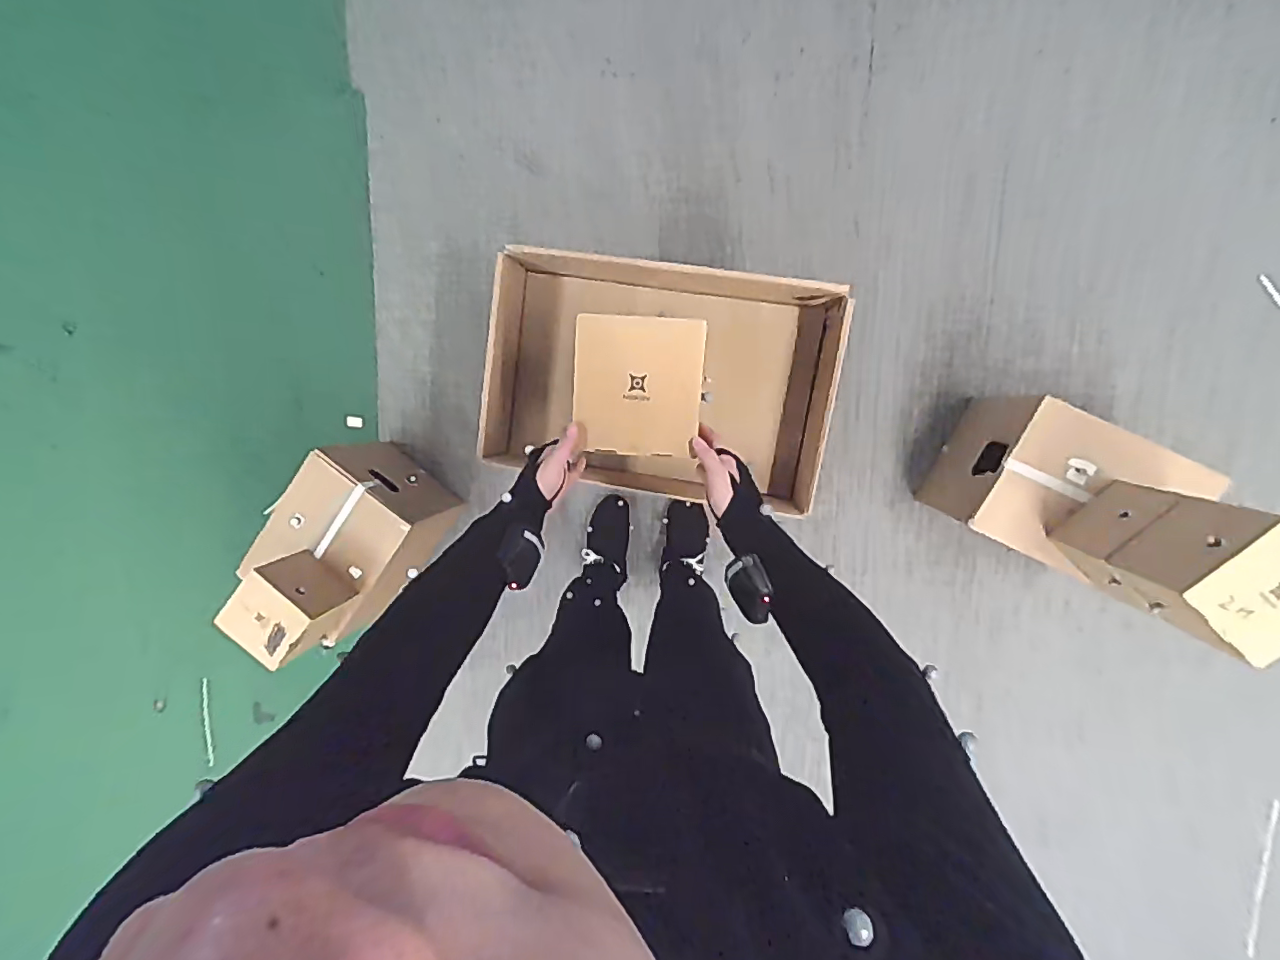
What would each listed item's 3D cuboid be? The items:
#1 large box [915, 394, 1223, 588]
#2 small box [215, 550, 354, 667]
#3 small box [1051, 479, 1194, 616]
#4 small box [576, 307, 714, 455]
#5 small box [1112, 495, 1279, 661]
[{"bbox_3d":[0.956,0.017,1.270,0.408,0.320,0.320,26,100,3],"label":"large box"},{"bbox_3d":[-0.813,0.287,1.255,0.179,0.176,0.168,41,99,-1],"label":"small box"},{"bbox_3d":[0.955,0.118,1.035,0.168,0.176,0.179,45,101,-1],"label":"small box"},{"bbox_3d":[0.010,-0.139,0.755,0.168,0.176,0.179,4,102,5],"label":"small box"},{"bbox_3d":[0.938,0.145,0.872,0.168,0.176,0.179,44,102,-1],"label":"small box"}]
